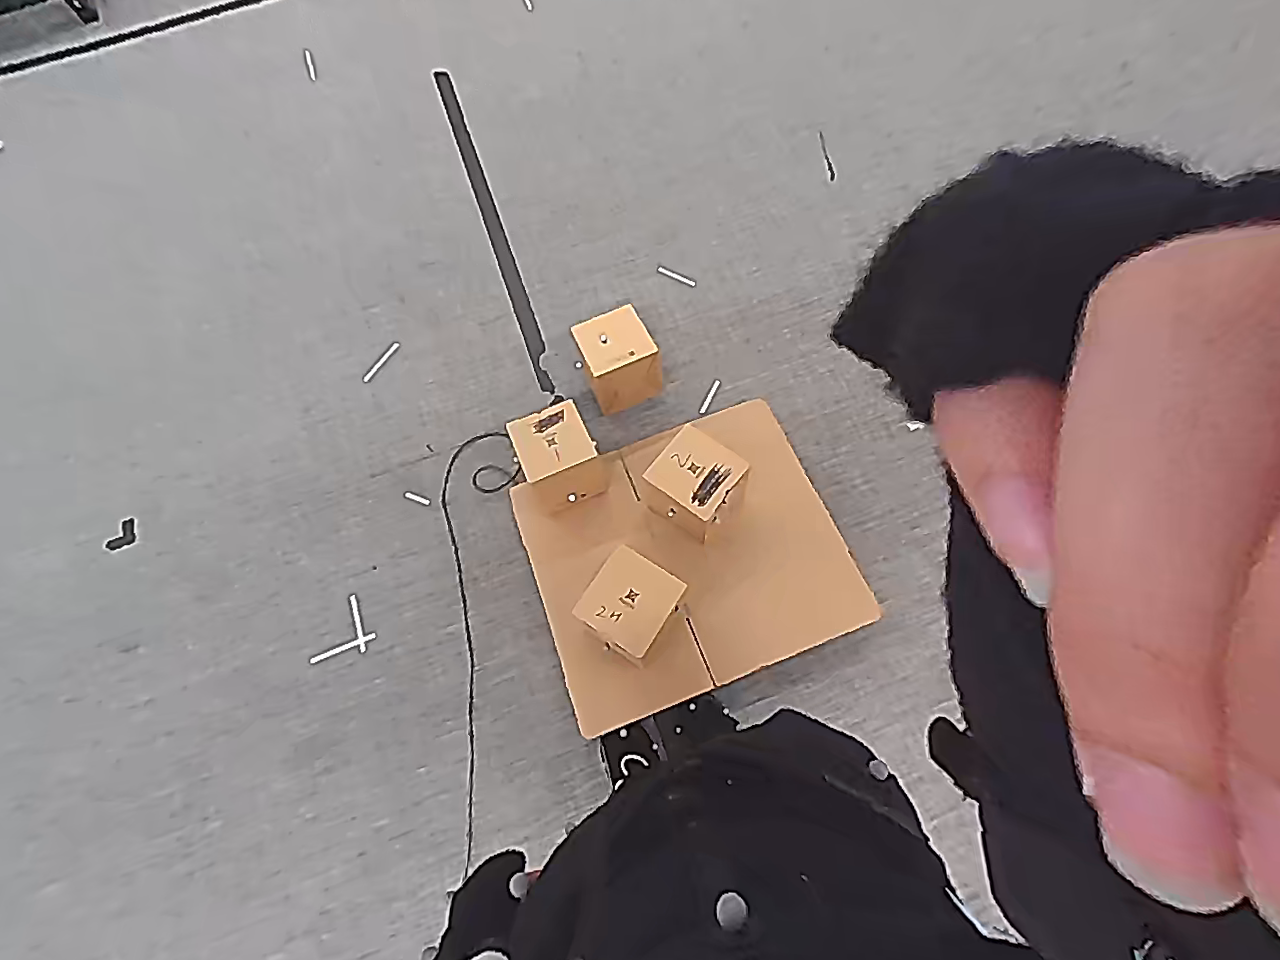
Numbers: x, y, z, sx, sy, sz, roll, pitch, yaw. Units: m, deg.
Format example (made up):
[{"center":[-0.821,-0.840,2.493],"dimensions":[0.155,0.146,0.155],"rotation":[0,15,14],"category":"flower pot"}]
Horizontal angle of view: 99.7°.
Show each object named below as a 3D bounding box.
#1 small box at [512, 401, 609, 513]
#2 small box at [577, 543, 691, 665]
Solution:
[{"center":[-0.185,-0.051,1.285],"dimensions":[0.168,0.176,0.179],"rotation":[-23,63,-7],"category":"small box"},{"center":[-0.009,0.266,1.137],"dimensions":[0.168,0.176,0.179],"rotation":[31,71,16],"category":"small box"}]
